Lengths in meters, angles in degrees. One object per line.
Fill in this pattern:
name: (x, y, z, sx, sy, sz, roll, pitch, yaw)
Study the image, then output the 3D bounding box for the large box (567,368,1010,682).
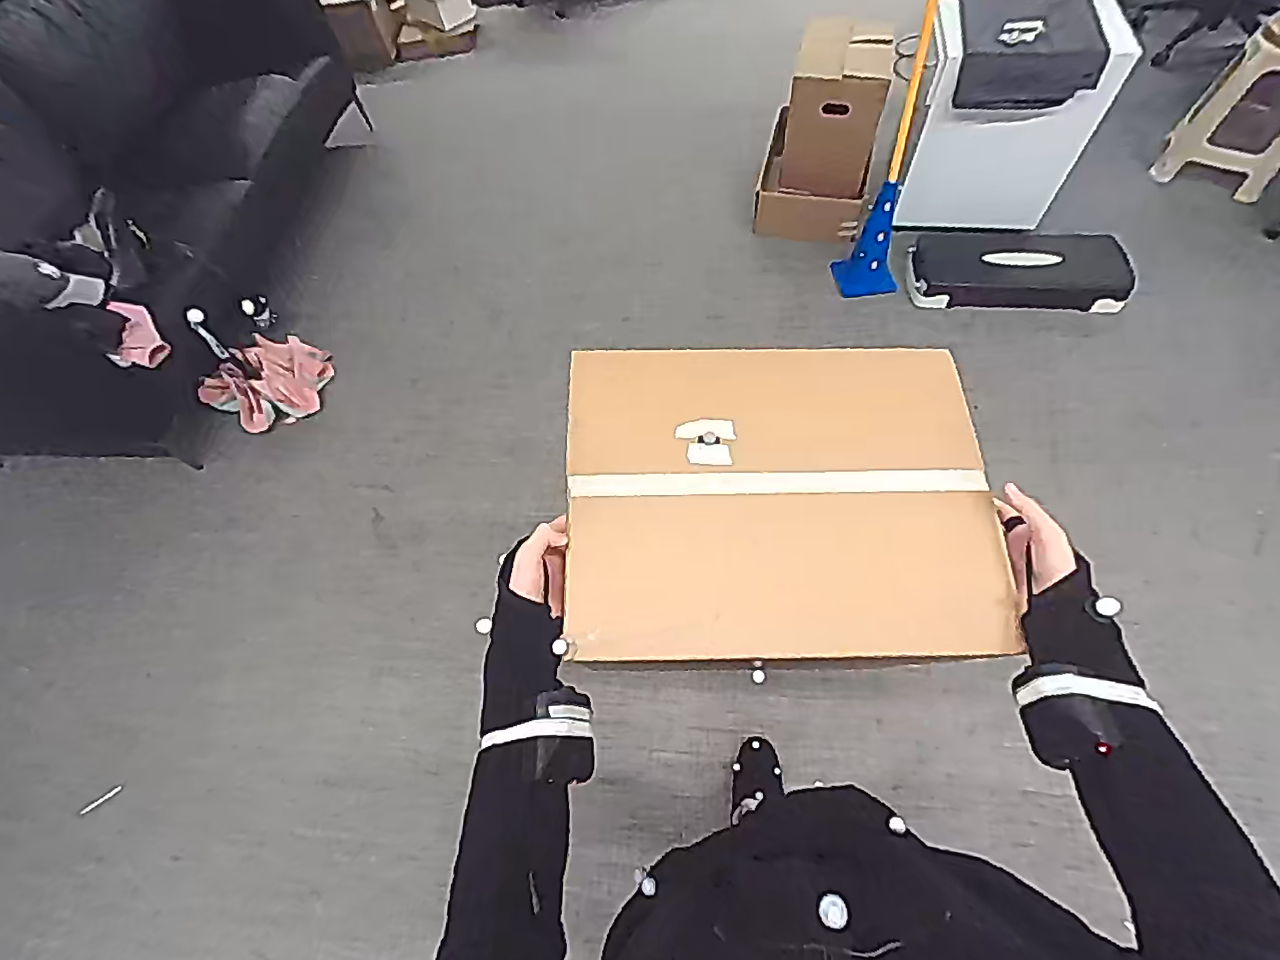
large box: (0.132, 0.080, 0.671, 0.408, 0.320, 0.320, -1, 67, 0)
